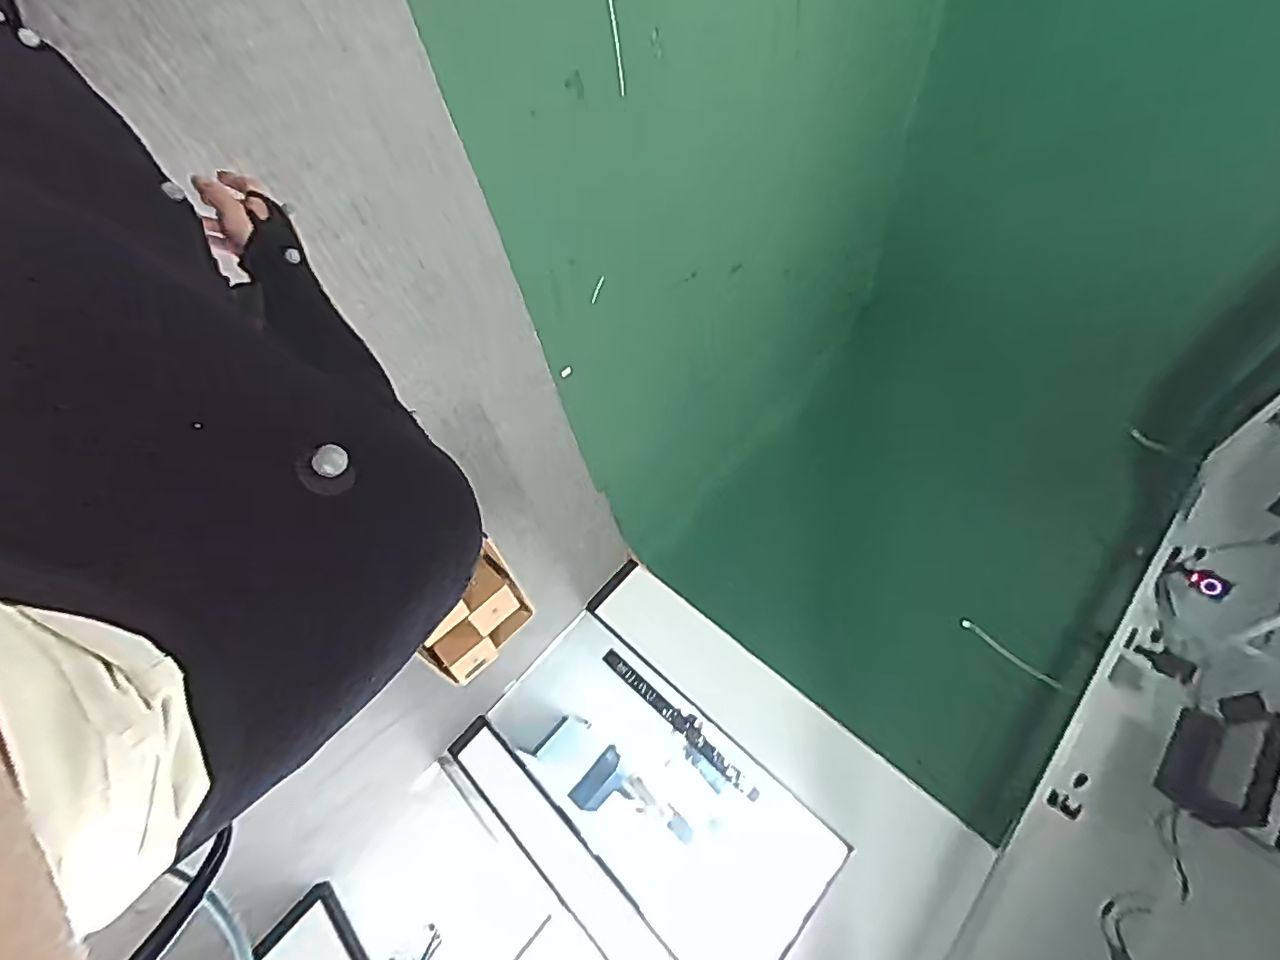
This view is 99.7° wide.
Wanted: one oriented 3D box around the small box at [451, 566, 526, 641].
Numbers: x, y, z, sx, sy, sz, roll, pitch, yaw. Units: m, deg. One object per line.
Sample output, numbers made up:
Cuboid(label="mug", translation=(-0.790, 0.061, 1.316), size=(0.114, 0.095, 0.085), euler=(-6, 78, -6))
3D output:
Cuboid(label="small box", translation=(-0.541, 0.431, 1.925), size=(0.168, 0.176, 0.179), euler=(-40, 147, -22))
